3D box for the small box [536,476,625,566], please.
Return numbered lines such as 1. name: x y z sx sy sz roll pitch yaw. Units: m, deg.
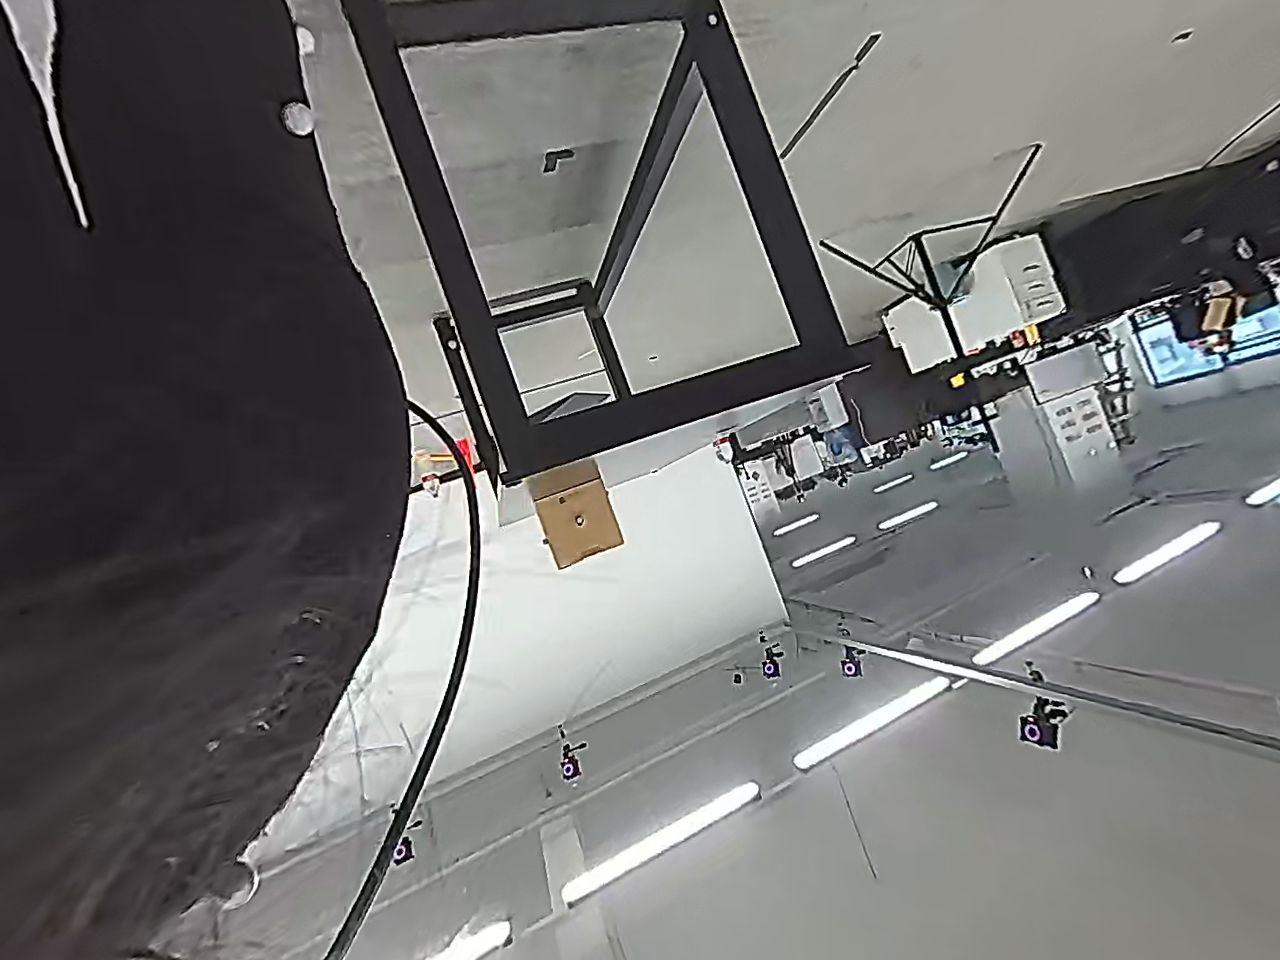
1. small box: -0.151 0.100 1.326 0.168 0.176 0.179 -21 178 -12
